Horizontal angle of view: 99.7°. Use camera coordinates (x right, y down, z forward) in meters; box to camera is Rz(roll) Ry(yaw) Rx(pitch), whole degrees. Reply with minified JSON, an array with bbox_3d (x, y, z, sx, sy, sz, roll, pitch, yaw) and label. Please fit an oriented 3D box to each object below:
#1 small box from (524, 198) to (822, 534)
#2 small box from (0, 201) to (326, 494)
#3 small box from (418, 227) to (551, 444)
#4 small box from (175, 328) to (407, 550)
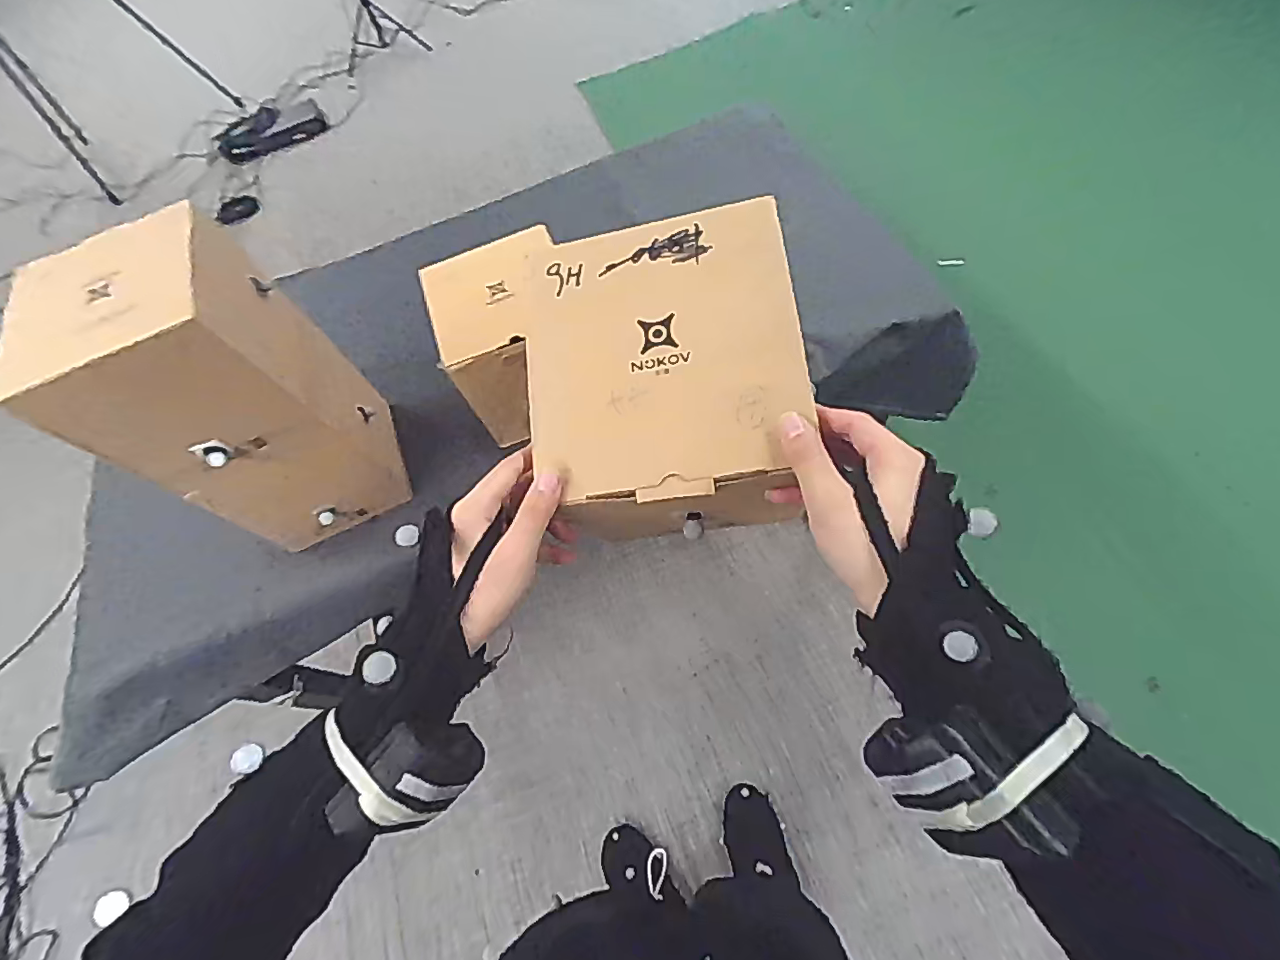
[{"bbox_3d":[0.028,-0.058,0.394,0.168,0.176,0.179,-8,76,9],"label":"small box"},{"bbox_3d":[-0.437,-0.117,0.516,0.168,0.176,0.179,-27,62,-4],"label":"small box"},{"bbox_3d":[-0.156,-0.178,0.692,0.168,0.176,0.179,-23,62,-4],"label":"small box"},{"bbox_3d":[-0.415,-0.043,0.659,0.168,0.176,0.179,-26,62,-5],"label":"small box"}]
